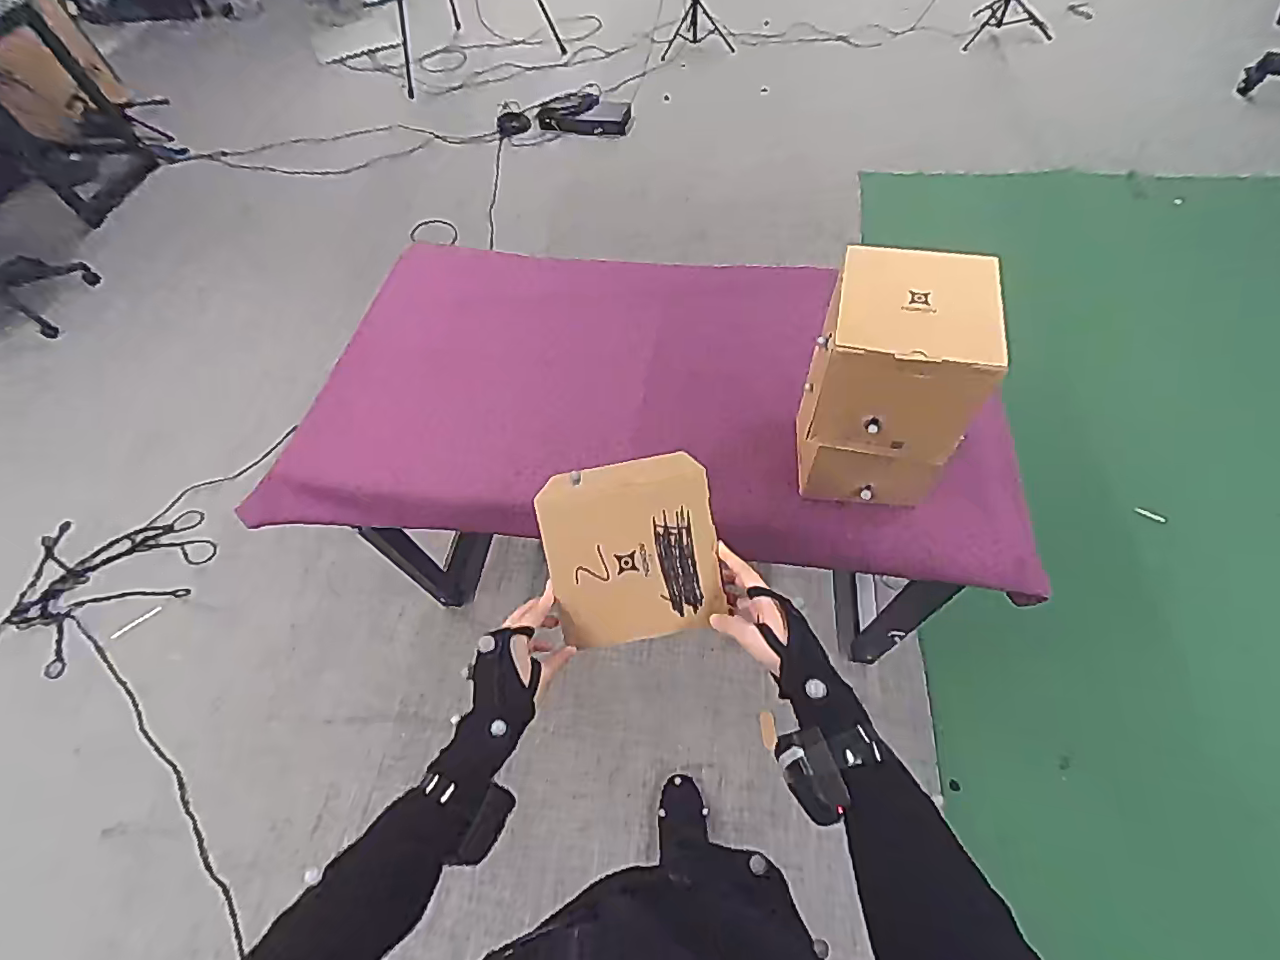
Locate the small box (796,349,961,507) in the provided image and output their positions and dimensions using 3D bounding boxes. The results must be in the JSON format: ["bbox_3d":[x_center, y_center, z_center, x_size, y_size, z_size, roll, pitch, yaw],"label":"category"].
[{"bbox_3d":[0.333,-0.073,0.794,0.179,0.176,0.168,4,55,8],"label":"small box"}]

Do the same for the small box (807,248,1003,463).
[{"bbox_3d":[0.303,-0.148,0.650,0.168,0.176,0.179,10,59,13],"label":"small box"}]
